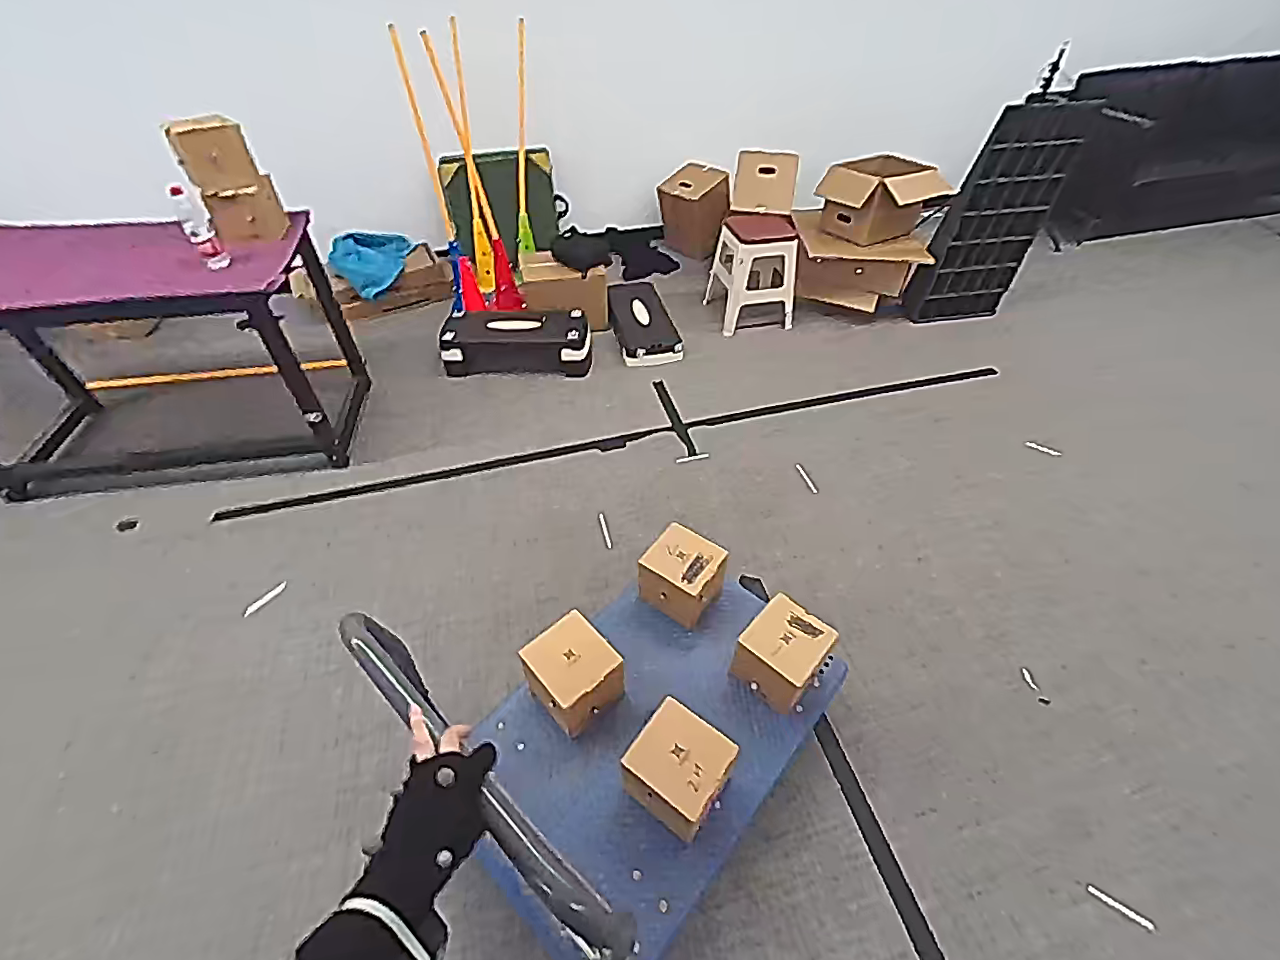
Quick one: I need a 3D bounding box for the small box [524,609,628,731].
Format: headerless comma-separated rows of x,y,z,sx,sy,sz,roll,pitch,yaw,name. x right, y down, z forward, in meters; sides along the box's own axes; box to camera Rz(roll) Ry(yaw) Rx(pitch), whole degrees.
-0.145,0.442,1.252,0.168,0.176,0.179,-33,56,-29,small box

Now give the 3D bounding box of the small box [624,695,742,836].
0.084,0.589,1.109,0.179,0.176,0.168,29,53,26,small box

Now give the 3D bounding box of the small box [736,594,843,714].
0.345,0.413,1.282,0.168,0.176,0.179,35,56,29,small box
